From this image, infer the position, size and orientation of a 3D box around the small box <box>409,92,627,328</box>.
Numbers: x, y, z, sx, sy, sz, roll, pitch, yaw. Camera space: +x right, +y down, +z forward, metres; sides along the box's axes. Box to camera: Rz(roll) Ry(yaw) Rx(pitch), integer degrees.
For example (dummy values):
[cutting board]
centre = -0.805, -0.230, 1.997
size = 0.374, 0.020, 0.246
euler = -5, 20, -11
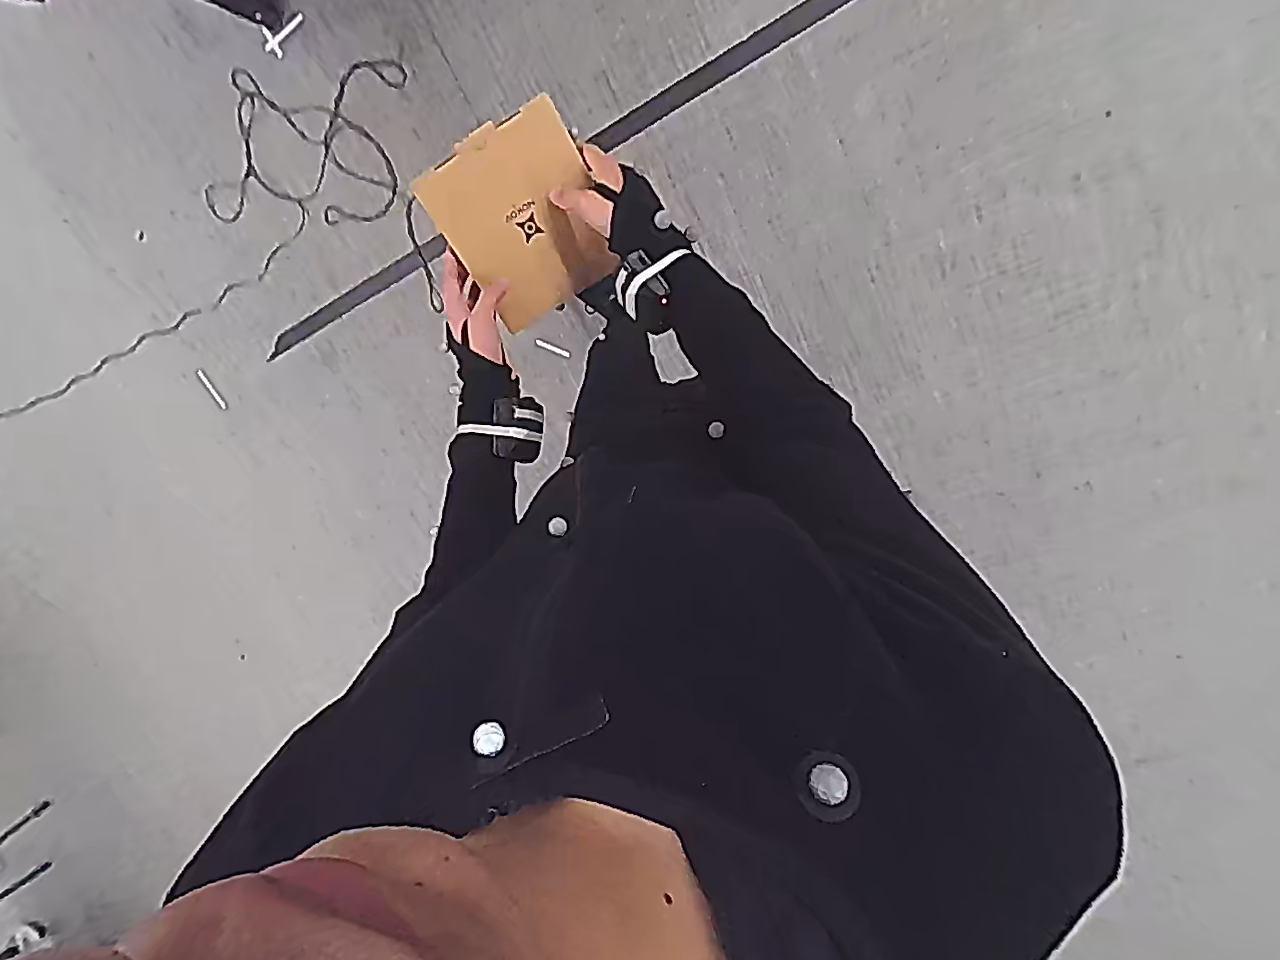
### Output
[small box]
centre = -0.132, -0.311, 0.642
size = 0.168, 0.176, 0.179
euler = -30, 115, 6
